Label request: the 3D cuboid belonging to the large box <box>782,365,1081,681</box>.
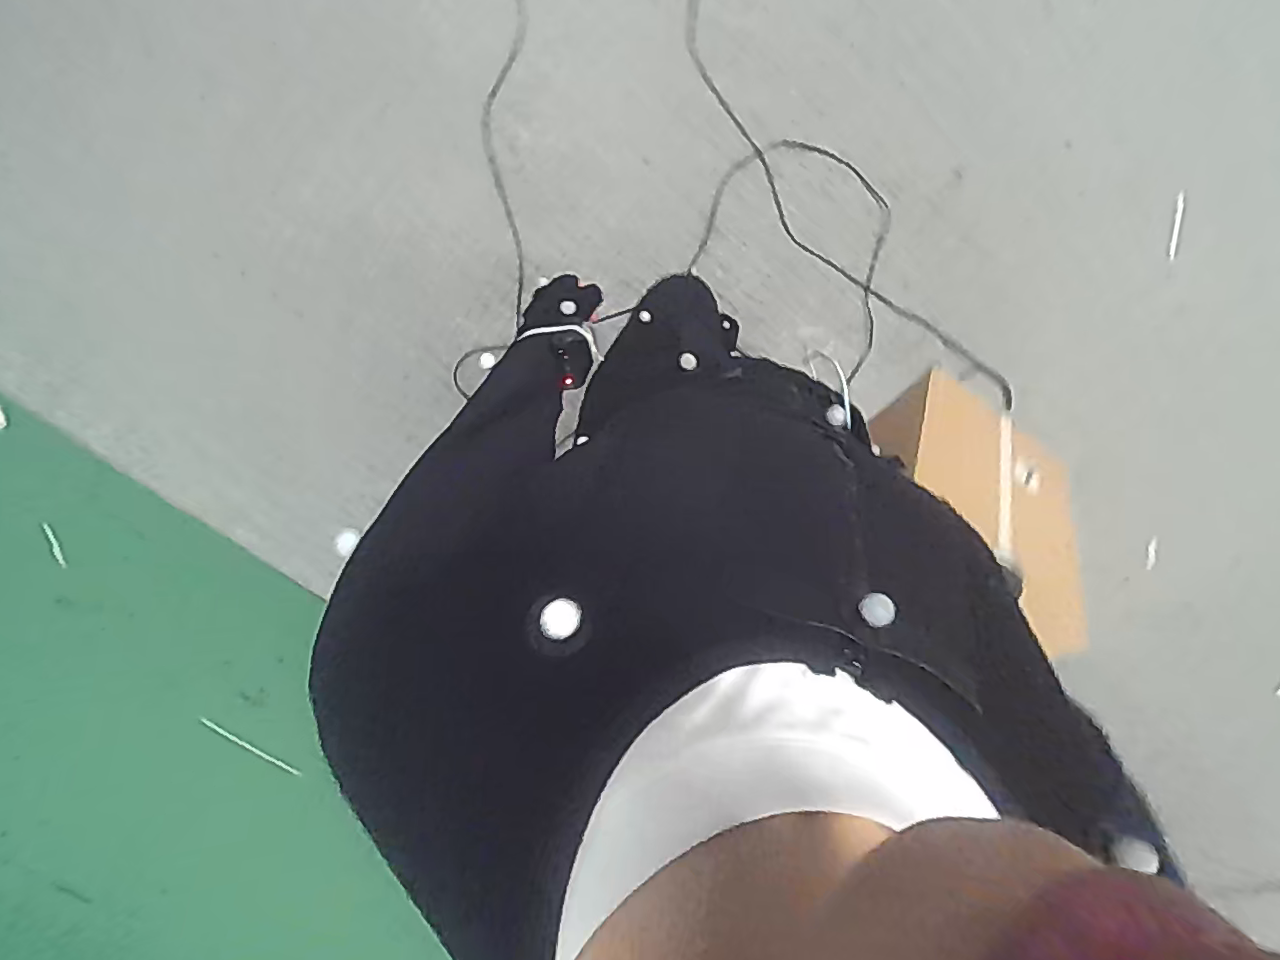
[{"bbox_3d":[0.505,0.079,0.978,0.320,0.408,0.320,35,140,-2],"label":"large box"}]
